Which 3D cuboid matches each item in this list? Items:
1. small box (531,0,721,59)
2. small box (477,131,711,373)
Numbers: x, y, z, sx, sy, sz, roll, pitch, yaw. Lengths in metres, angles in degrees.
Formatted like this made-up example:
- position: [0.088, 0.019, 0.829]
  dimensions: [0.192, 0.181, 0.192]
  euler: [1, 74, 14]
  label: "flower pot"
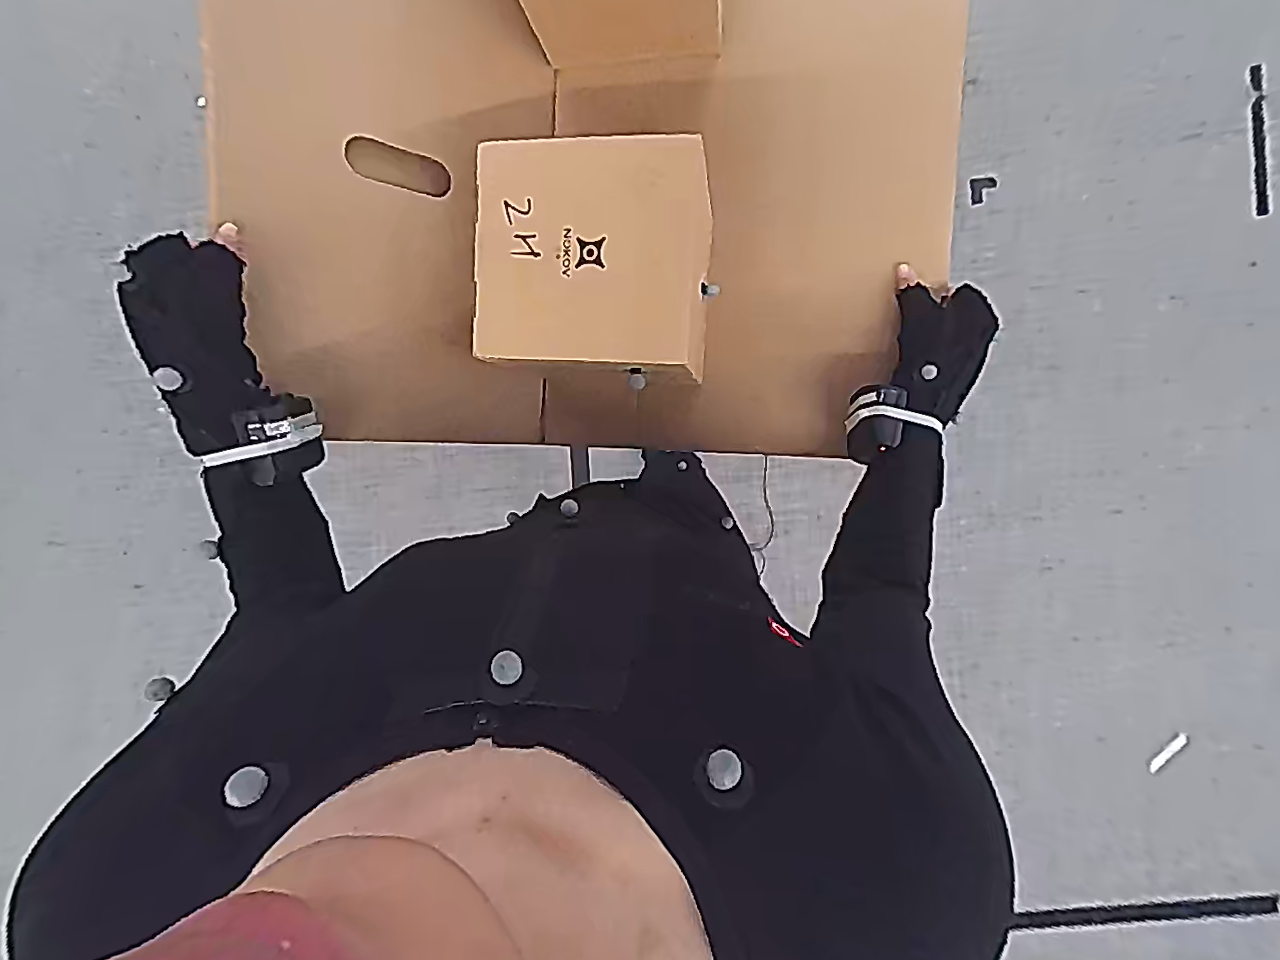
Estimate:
- position: [-0.018, -0.511, 0.474]
  dimensions: [0.179, 0.176, 0.168]
  euler: [2, 95, 10]
  label: "small box"
- position: [-0.029, -0.193, 0.501]
  dimensions: [0.179, 0.176, 0.168]
  euler: [5, 95, 10]
  label: "small box"
